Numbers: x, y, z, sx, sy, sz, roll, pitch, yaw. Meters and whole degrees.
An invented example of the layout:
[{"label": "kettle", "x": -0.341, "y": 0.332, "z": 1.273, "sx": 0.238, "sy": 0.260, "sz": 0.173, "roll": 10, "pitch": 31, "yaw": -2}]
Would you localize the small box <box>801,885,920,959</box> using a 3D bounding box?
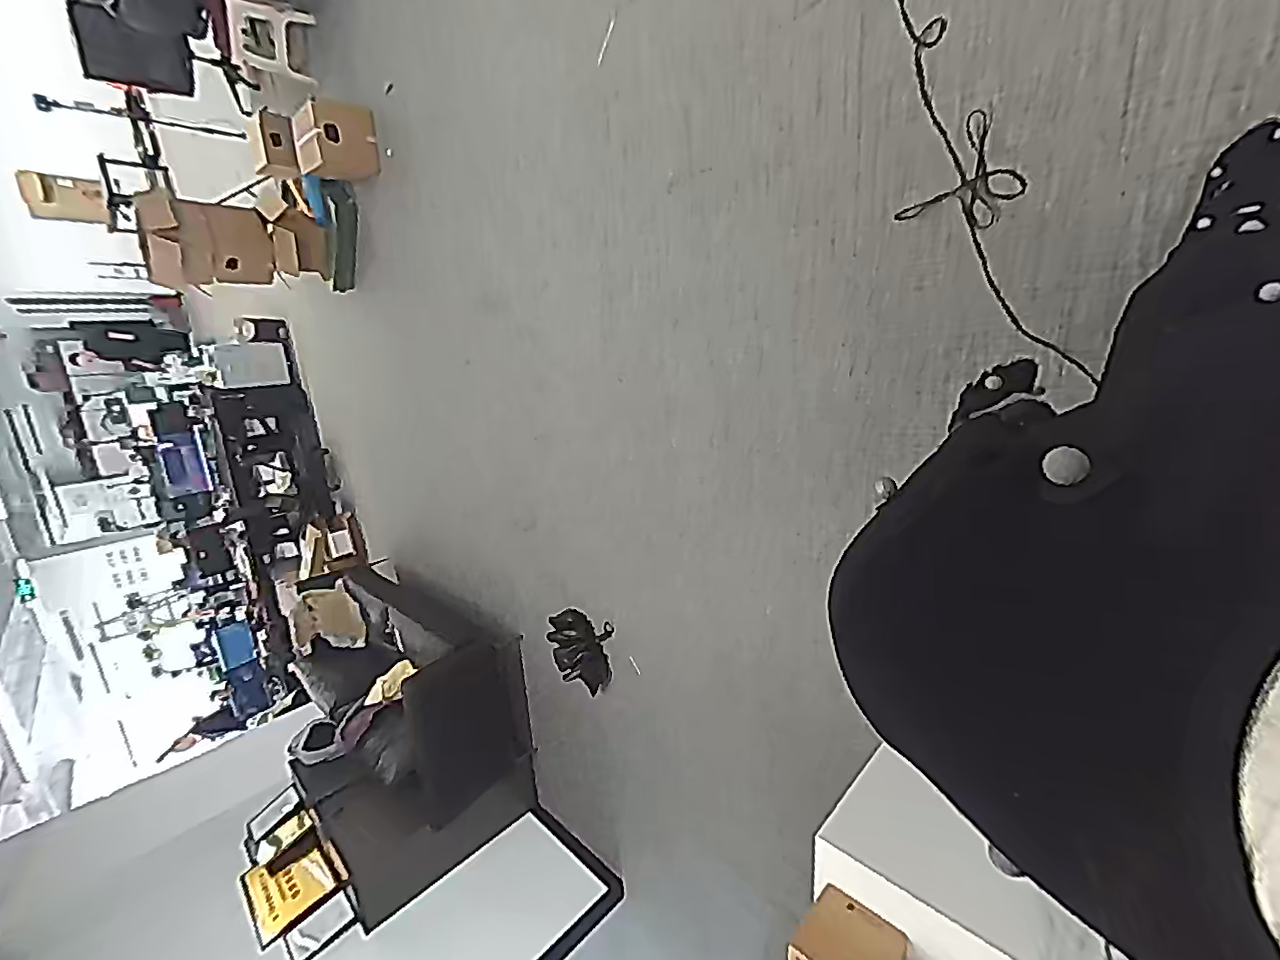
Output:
[{"label": "small box", "x": 0.433, "y": 0.966, "z": 1.062, "sx": 0.168, "sy": 0.176, "sz": 0.179, "roll": 10, "pitch": 111, "yaw": 45}]
